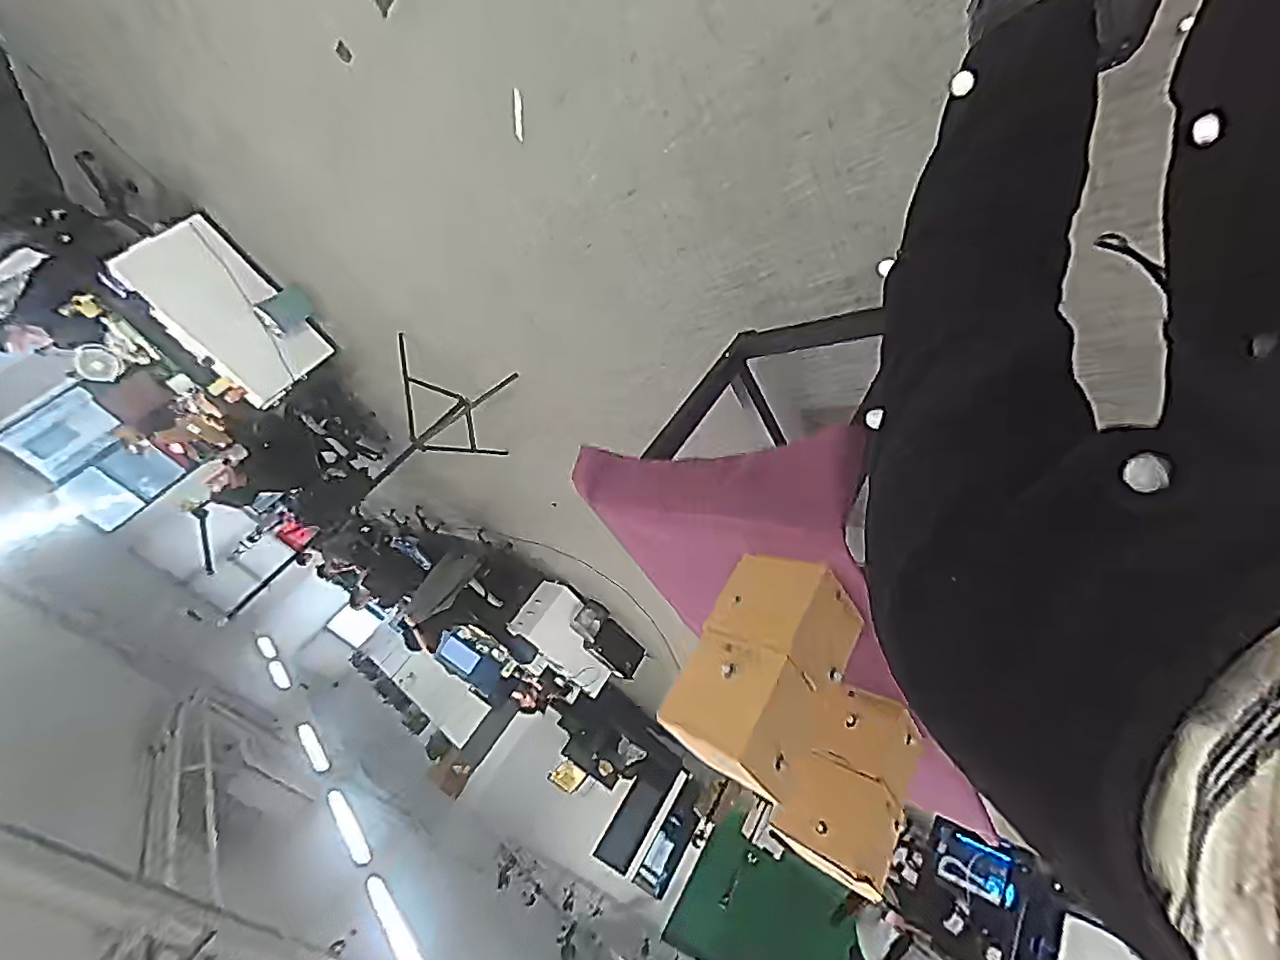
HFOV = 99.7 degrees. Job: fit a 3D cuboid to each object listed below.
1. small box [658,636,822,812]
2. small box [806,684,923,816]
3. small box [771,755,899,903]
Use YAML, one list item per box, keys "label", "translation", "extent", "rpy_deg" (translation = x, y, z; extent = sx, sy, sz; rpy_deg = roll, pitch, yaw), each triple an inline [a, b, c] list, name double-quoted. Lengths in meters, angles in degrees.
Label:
- label: "small box"
  translation: [0.167, 0.383, 0.870]
  extent: [0.168, 0.176, 0.179]
  rpy_deg: [5, 140, 47]
- label: "small box"
  translation: [0.484, 0.570, 1.163]
  extent: [0.168, 0.176, 0.179]
  rpy_deg: [3, 137, 48]
- label: "small box"
  translation: [0.398, 0.687, 1.083]
  extent: [0.179, 0.176, 0.168]
  rpy_deg: [4, 139, 48]
